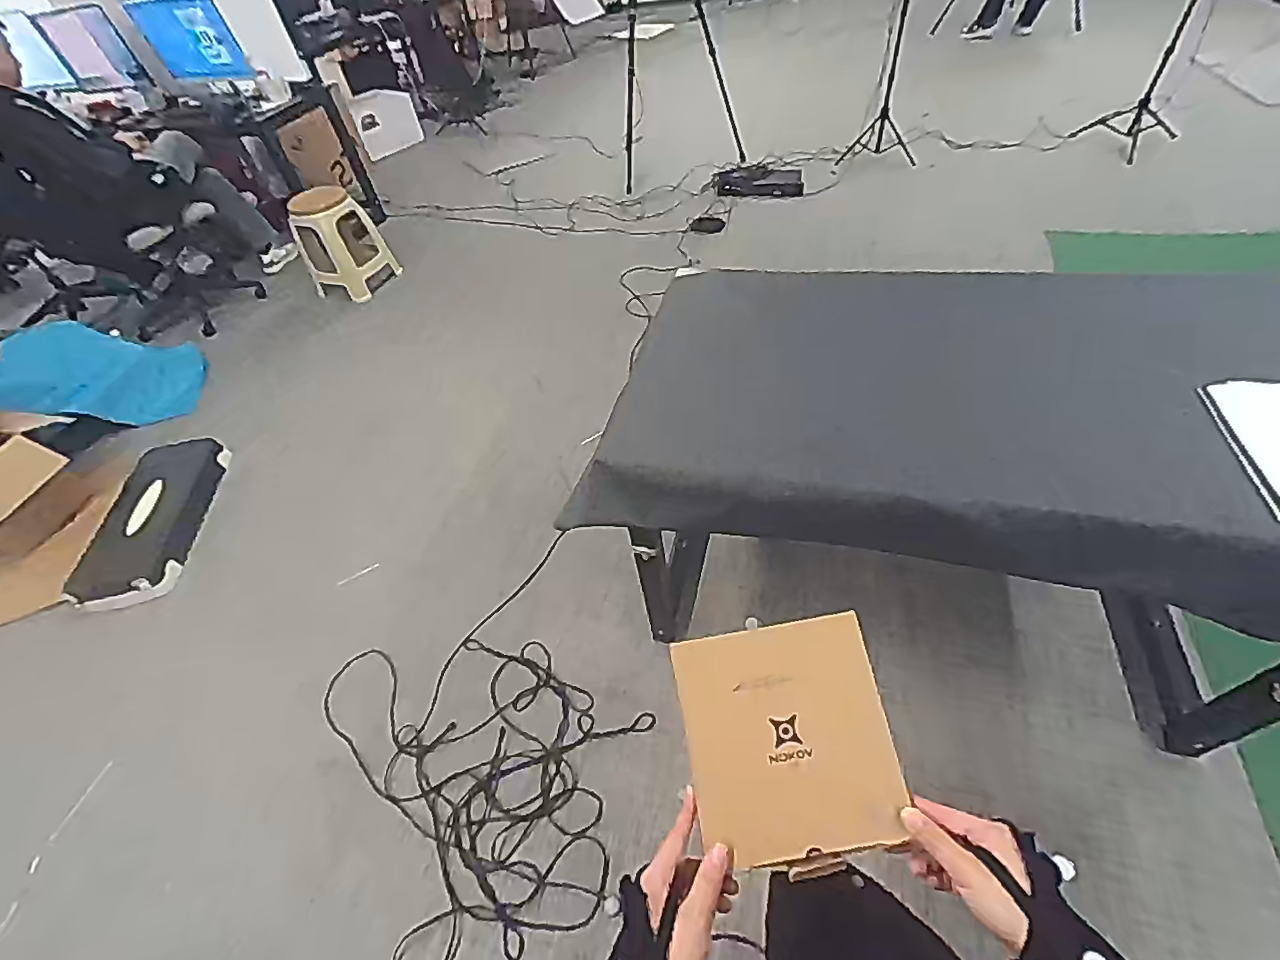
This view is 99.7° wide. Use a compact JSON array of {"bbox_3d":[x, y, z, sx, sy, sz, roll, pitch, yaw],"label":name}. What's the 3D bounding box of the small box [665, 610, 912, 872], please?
[{"bbox_3d":[0.120,0.232,0.514,0.168,0.176,0.179,-10,69,-1],"label":"small box"}]
